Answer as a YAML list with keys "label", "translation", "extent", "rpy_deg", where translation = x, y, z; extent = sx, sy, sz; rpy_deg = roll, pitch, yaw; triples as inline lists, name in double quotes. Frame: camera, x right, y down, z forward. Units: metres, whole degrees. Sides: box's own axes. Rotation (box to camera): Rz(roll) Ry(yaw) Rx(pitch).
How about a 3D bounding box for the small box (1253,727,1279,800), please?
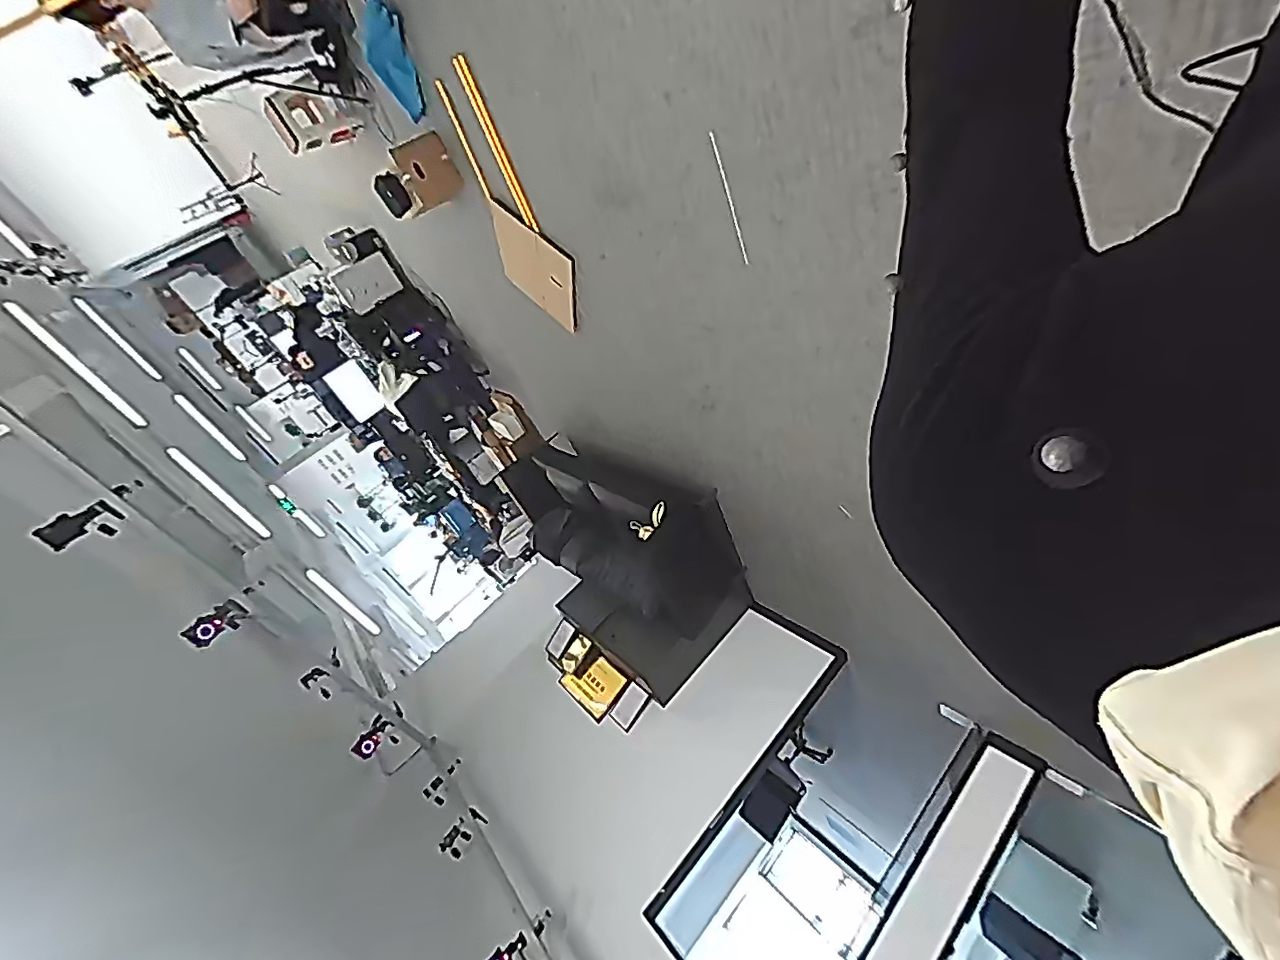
- label: "small box"
  translation: [1.648, 0.702, 1.290]
  extent: [0.179, 0.176, 0.168]
  rpy_deg: [29, 152, 39]
